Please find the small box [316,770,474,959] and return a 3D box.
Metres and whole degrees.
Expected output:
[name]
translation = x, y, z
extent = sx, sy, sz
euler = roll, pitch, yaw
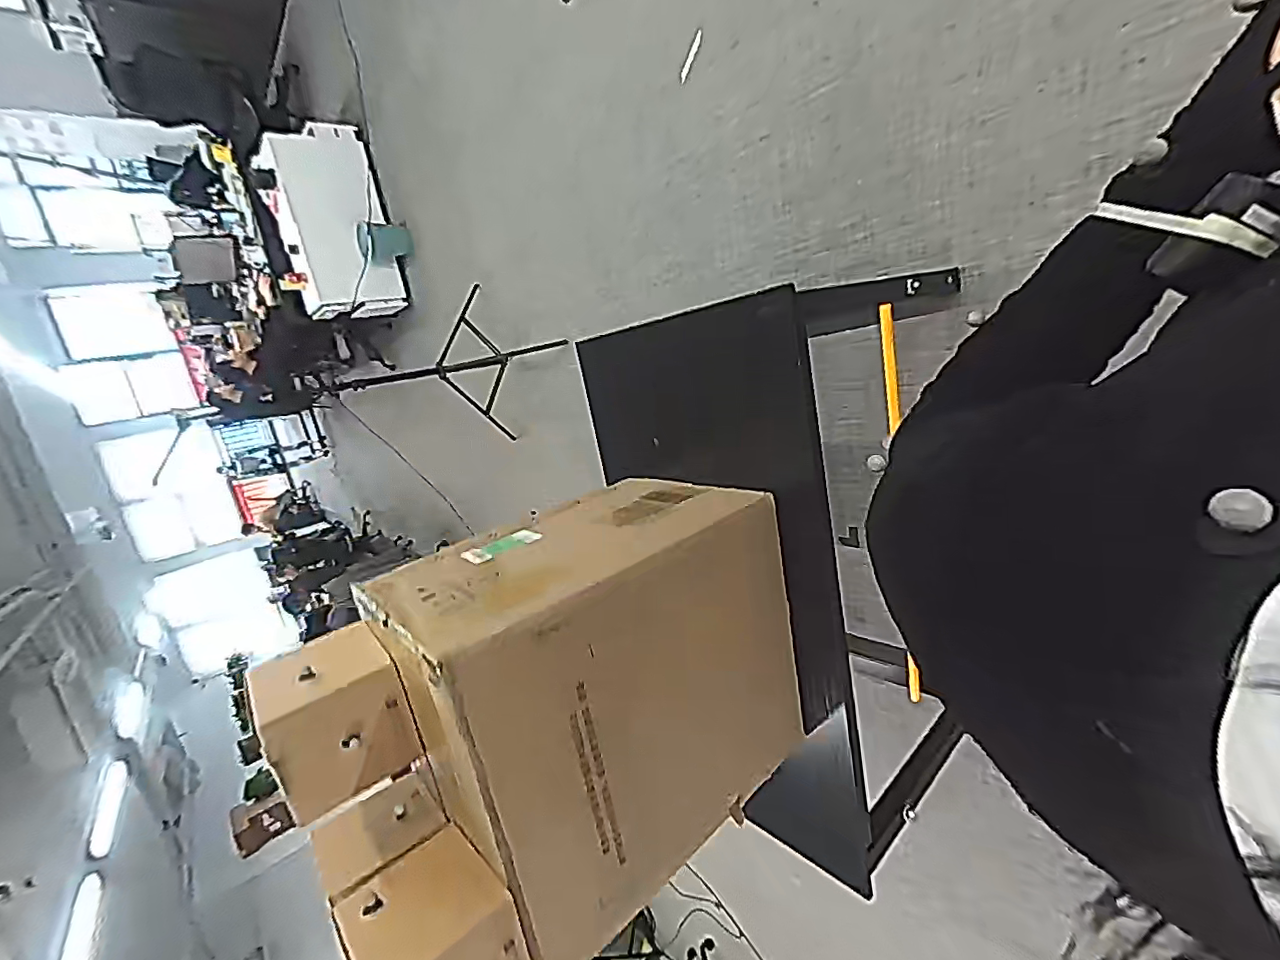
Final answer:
[small box]
translation = -0.377, 0.605, 0.843
extent = 0.168, 0.176, 0.179
euler = 6, 110, 51
